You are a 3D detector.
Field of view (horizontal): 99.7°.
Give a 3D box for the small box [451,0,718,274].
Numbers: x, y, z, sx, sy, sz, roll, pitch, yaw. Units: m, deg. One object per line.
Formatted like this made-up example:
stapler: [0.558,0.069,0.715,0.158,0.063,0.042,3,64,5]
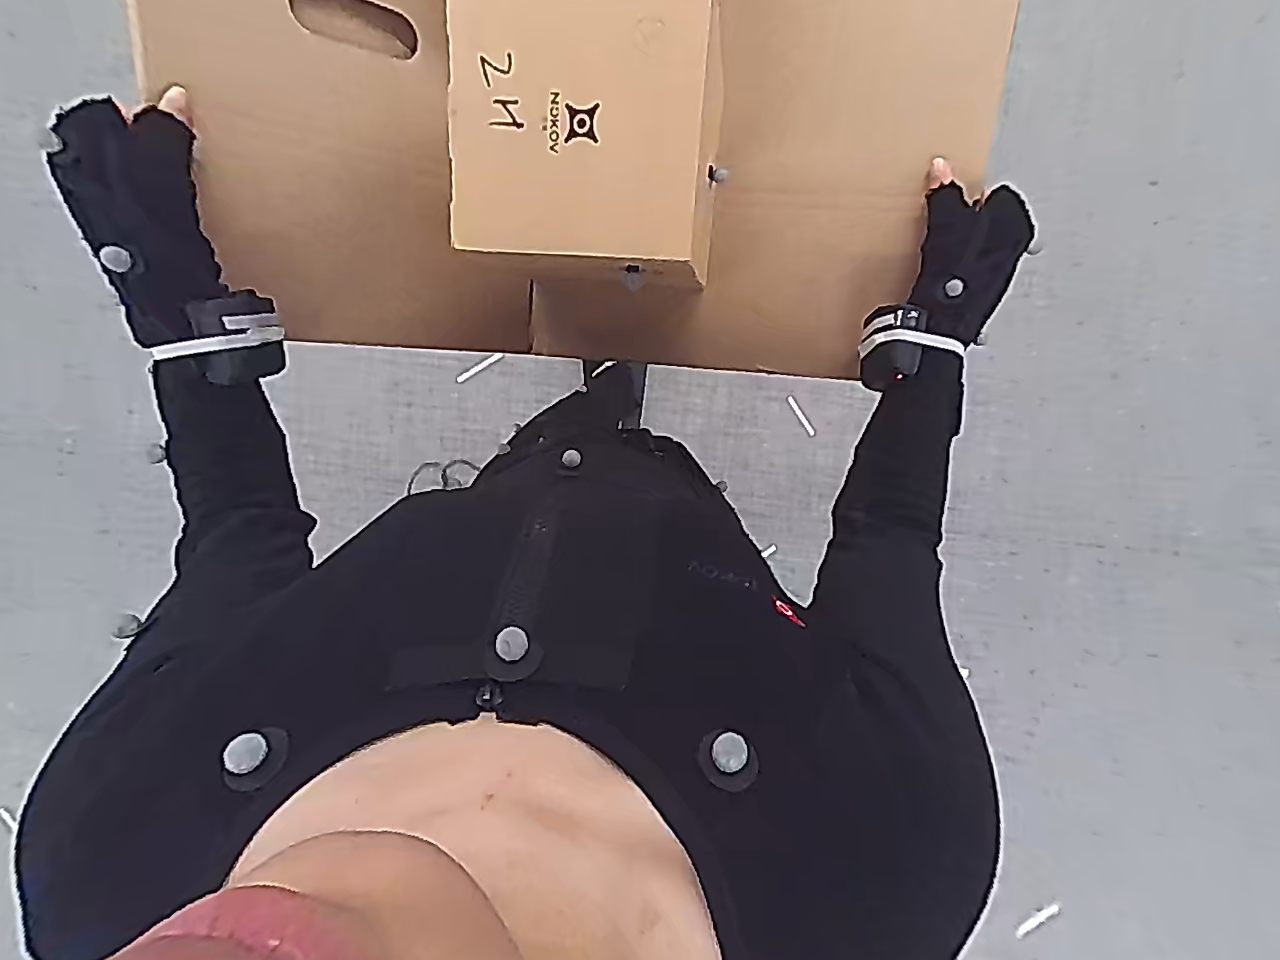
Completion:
small box: [-0.033,-0.268,0.441,0.179,0.176,0.168,7,104,9]
